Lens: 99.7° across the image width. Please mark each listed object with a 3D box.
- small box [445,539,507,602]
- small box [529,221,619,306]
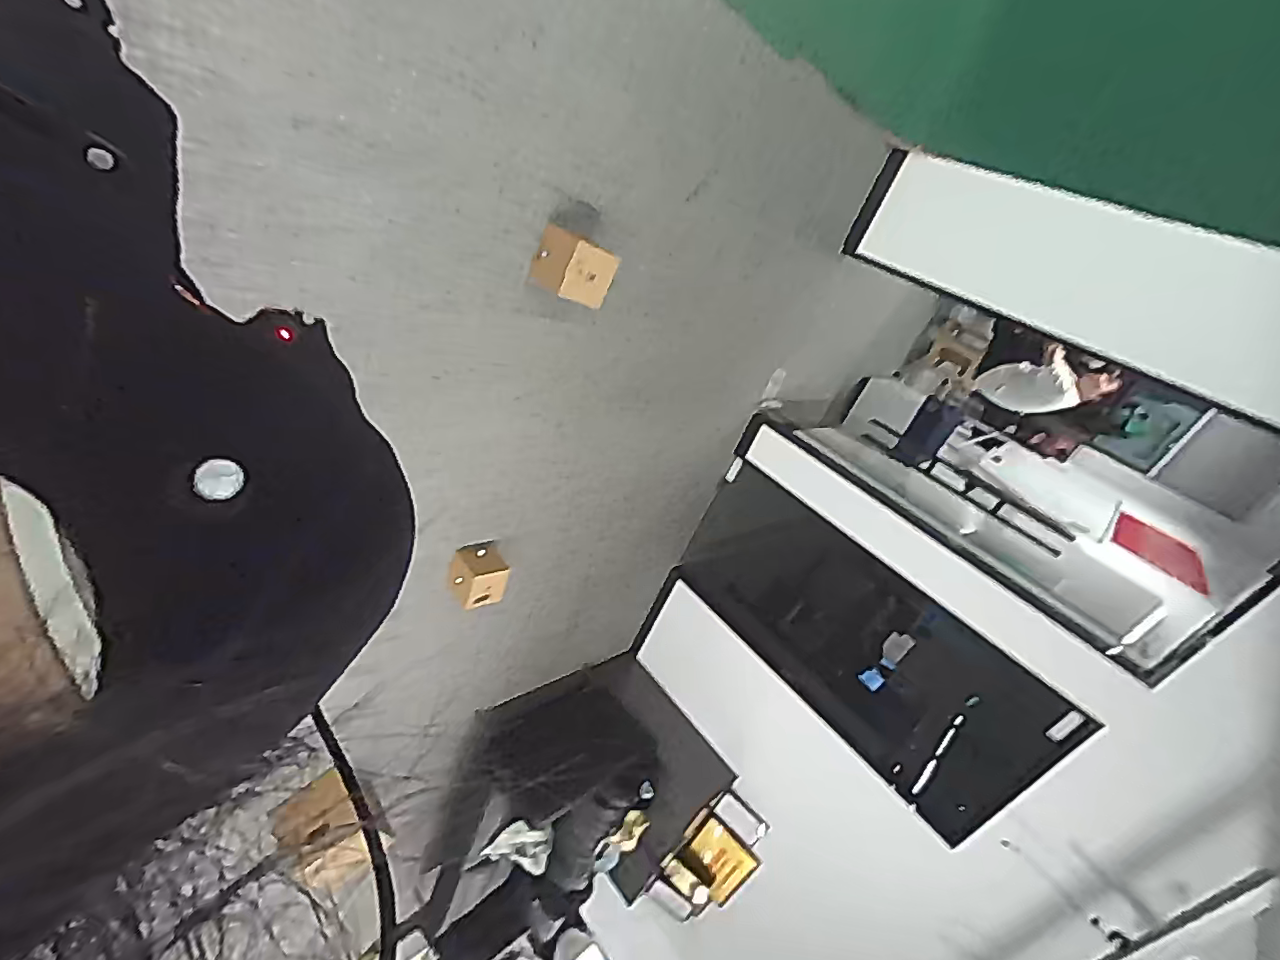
[{"bbox_3d":[-0.681,0.367,2.222,0.168,0.176,0.179,-6,129,-47],"label":"small box"},{"bbox_3d":[-0.203,-0.657,1.640,0.179,0.176,0.168,-1,126,-50],"label":"small box"}]
